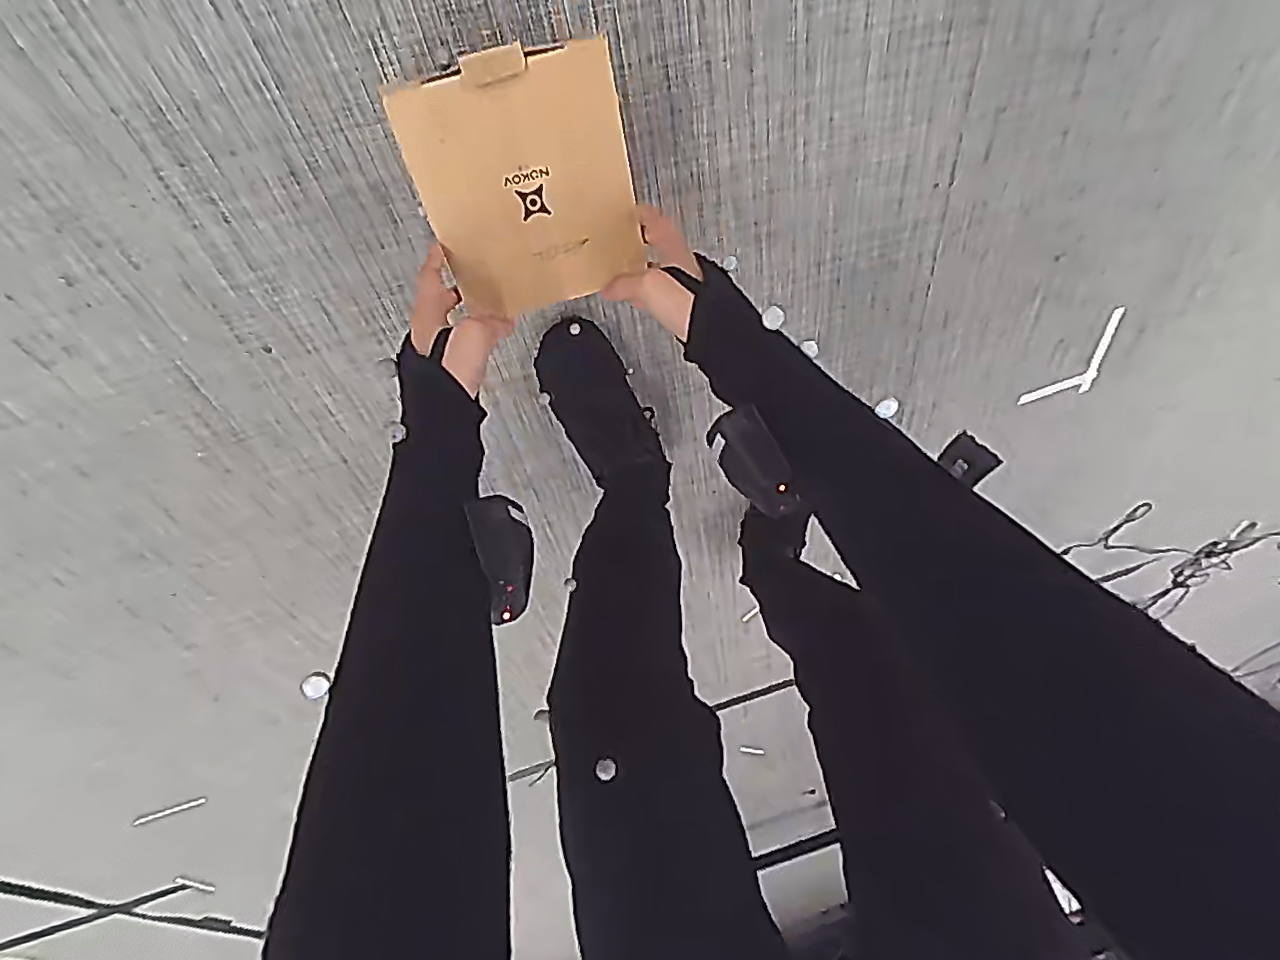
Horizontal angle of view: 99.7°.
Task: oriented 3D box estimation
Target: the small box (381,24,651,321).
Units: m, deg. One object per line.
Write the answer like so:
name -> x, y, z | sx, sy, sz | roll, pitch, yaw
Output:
small box -> -0.100, -0.270, 0.478 | 0.168, 0.176, 0.179 | -16, 130, -3
